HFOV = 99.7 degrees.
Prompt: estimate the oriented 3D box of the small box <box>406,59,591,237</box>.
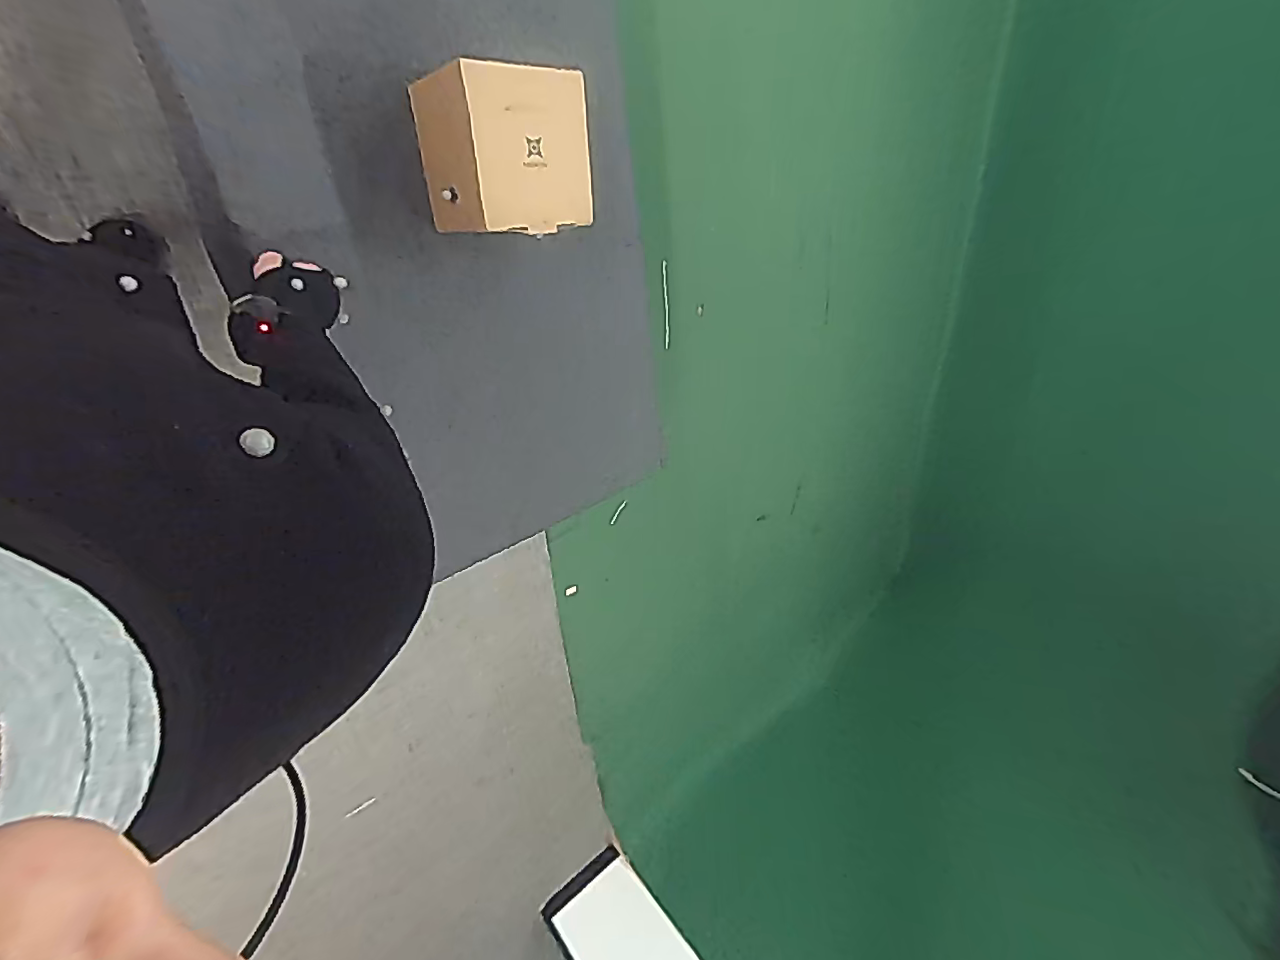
[{"bbox_3d":[-0.185,-0.426,0.718,0.168,0.176,0.179,-24,123,-34],"label":"small box"}]
